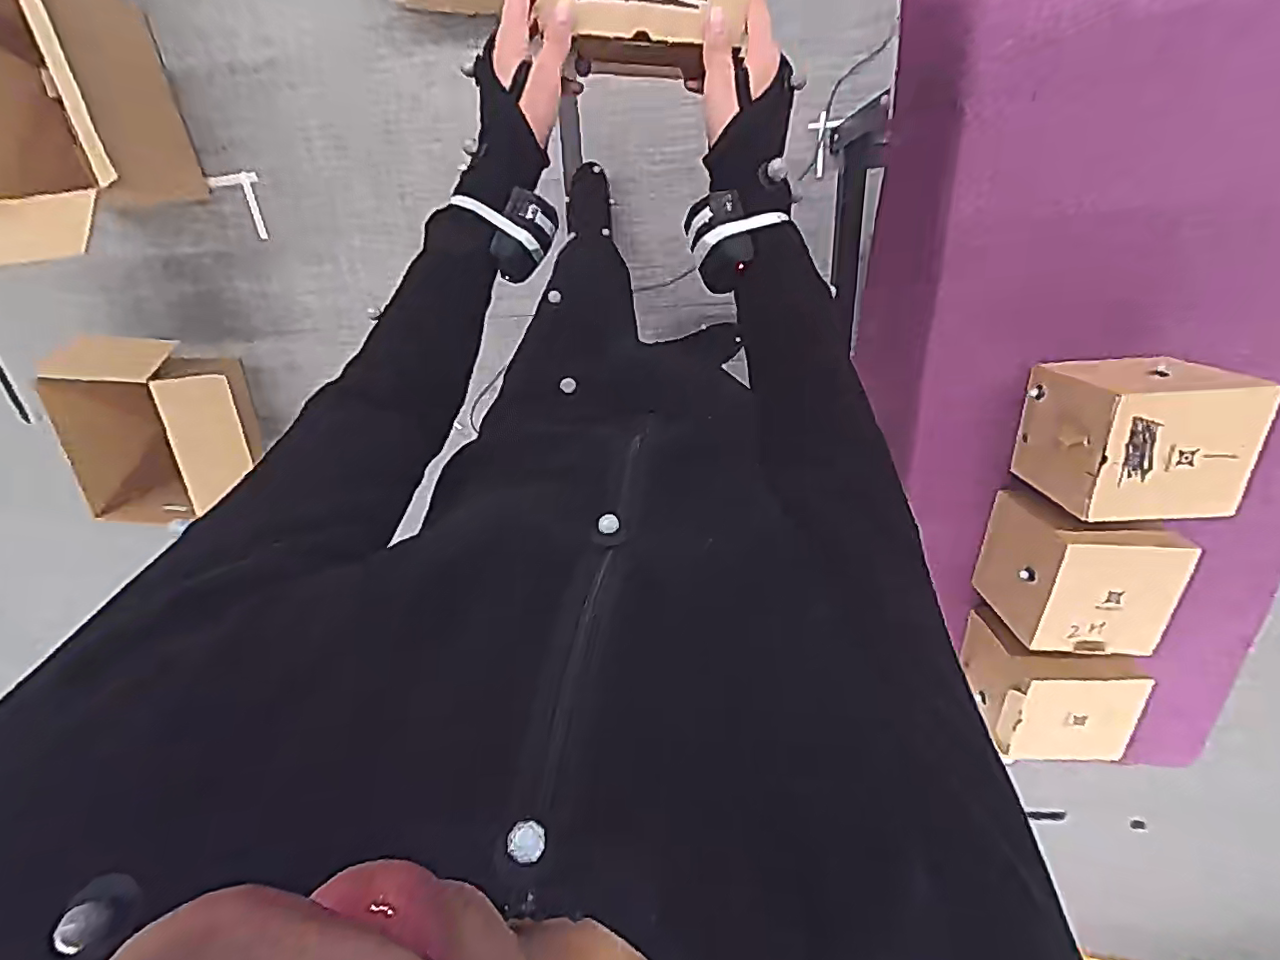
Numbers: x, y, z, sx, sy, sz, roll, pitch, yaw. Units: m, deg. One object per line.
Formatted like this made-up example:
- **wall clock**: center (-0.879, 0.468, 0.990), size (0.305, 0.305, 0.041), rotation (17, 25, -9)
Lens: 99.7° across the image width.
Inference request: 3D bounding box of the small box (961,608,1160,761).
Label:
- **small box**: center (0.656, 0.322, 0.873), size (0.179, 0.176, 0.168), rotation (-1, 114, 4)
